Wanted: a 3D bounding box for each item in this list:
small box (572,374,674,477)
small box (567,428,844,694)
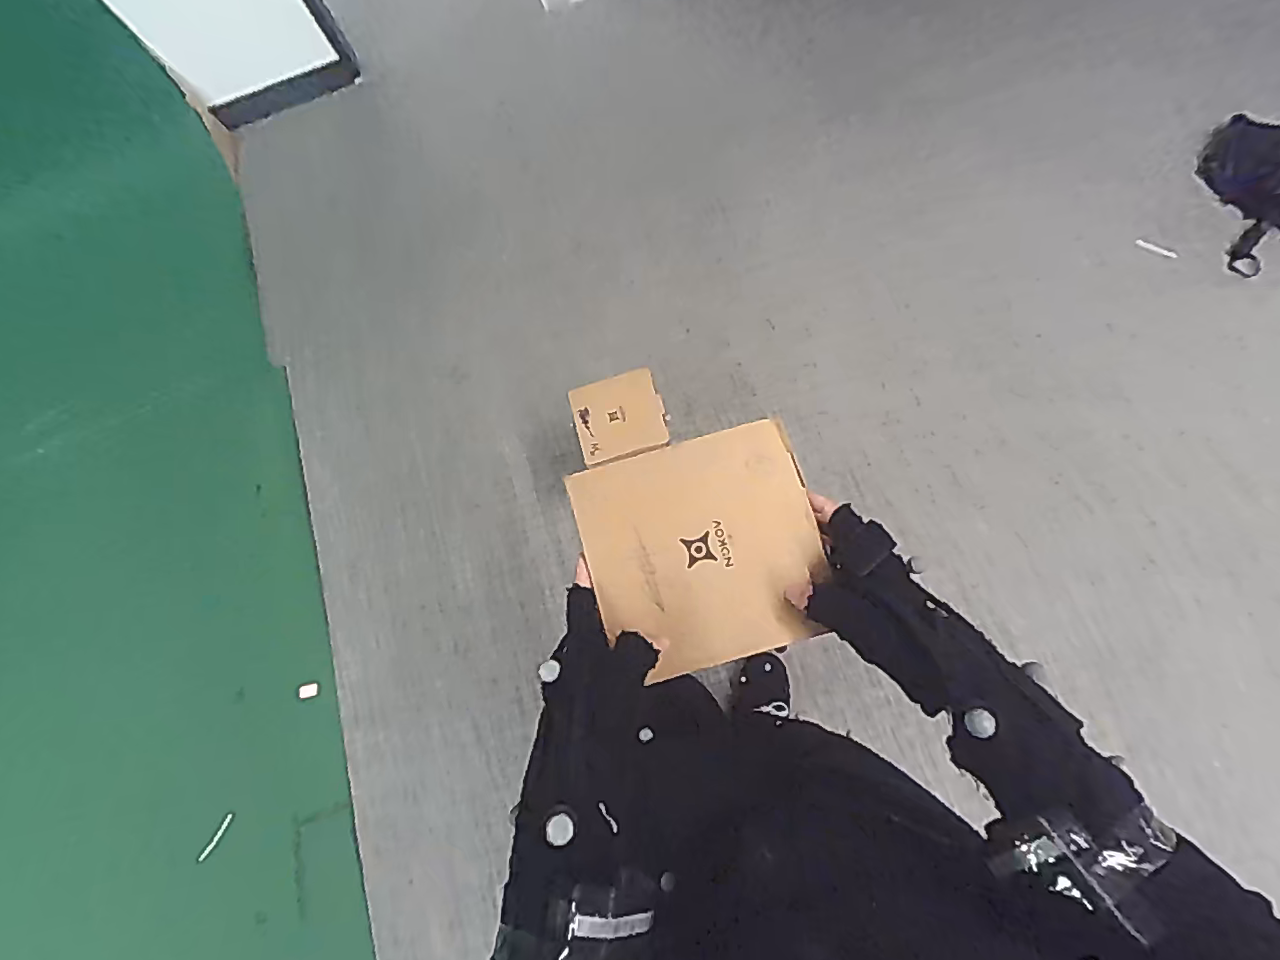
[{"bbox_3d":[-0.028,-0.102,1.152,0.179,0.176,0.168,-16,76,3],"label":"small box"},{"bbox_3d":[0.051,0.071,0.489,0.179,0.176,0.168,-17,78,1],"label":"small box"}]
